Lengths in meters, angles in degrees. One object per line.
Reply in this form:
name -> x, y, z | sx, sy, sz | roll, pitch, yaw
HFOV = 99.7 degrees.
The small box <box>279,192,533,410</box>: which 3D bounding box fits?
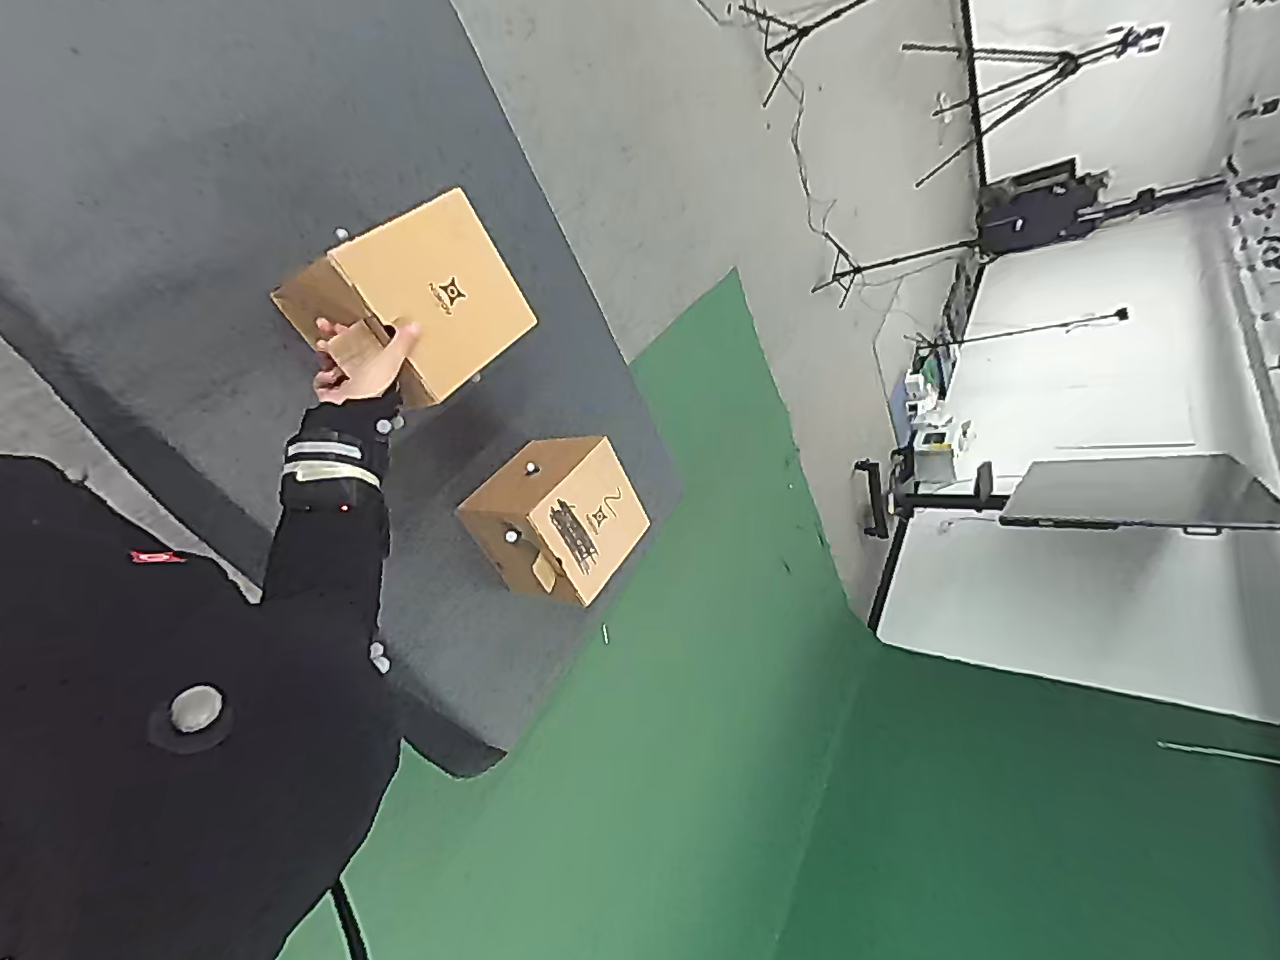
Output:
small box -> -0.266, -0.198, 0.625 | 0.179, 0.176, 0.168 | -54, 129, -35
